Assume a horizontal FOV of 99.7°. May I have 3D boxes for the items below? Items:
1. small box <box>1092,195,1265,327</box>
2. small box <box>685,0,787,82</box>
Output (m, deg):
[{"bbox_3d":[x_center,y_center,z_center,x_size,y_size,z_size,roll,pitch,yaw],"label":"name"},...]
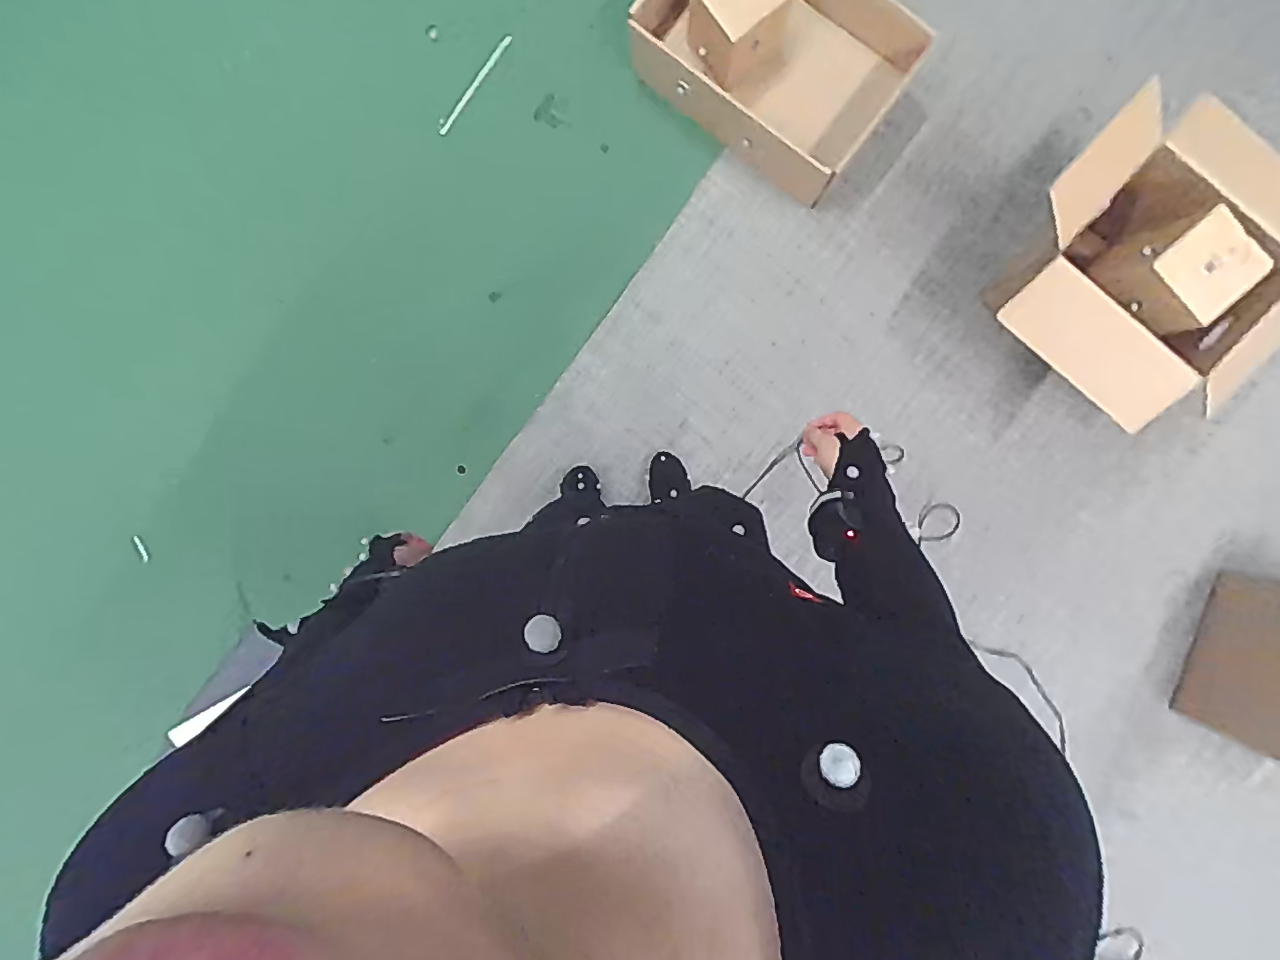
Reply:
[{"bbox_3d":[1.125,-0.452,1.153,0.179,0.176,0.168,-44,94,4],"label":"small box"},{"bbox_3d":[0.223,-1.120,1.293,0.179,0.176,0.168,-38,91,3],"label":"small box"}]
